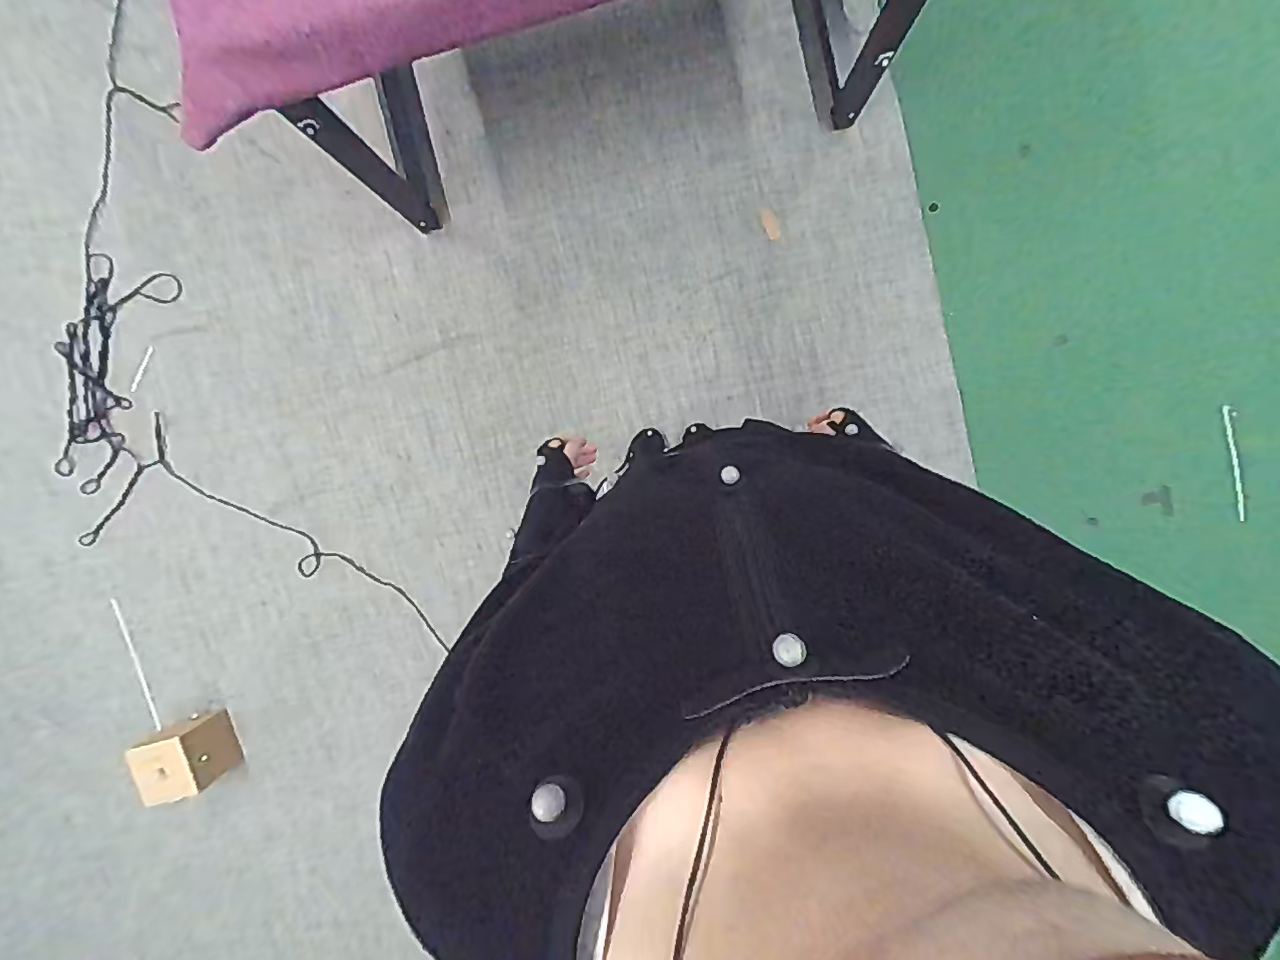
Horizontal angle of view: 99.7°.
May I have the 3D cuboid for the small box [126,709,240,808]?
[{"bbox_3d":[-1.305,0.798,1.559,0.168,0.176,0.179,-15,93,4],"label":"small box"}]
